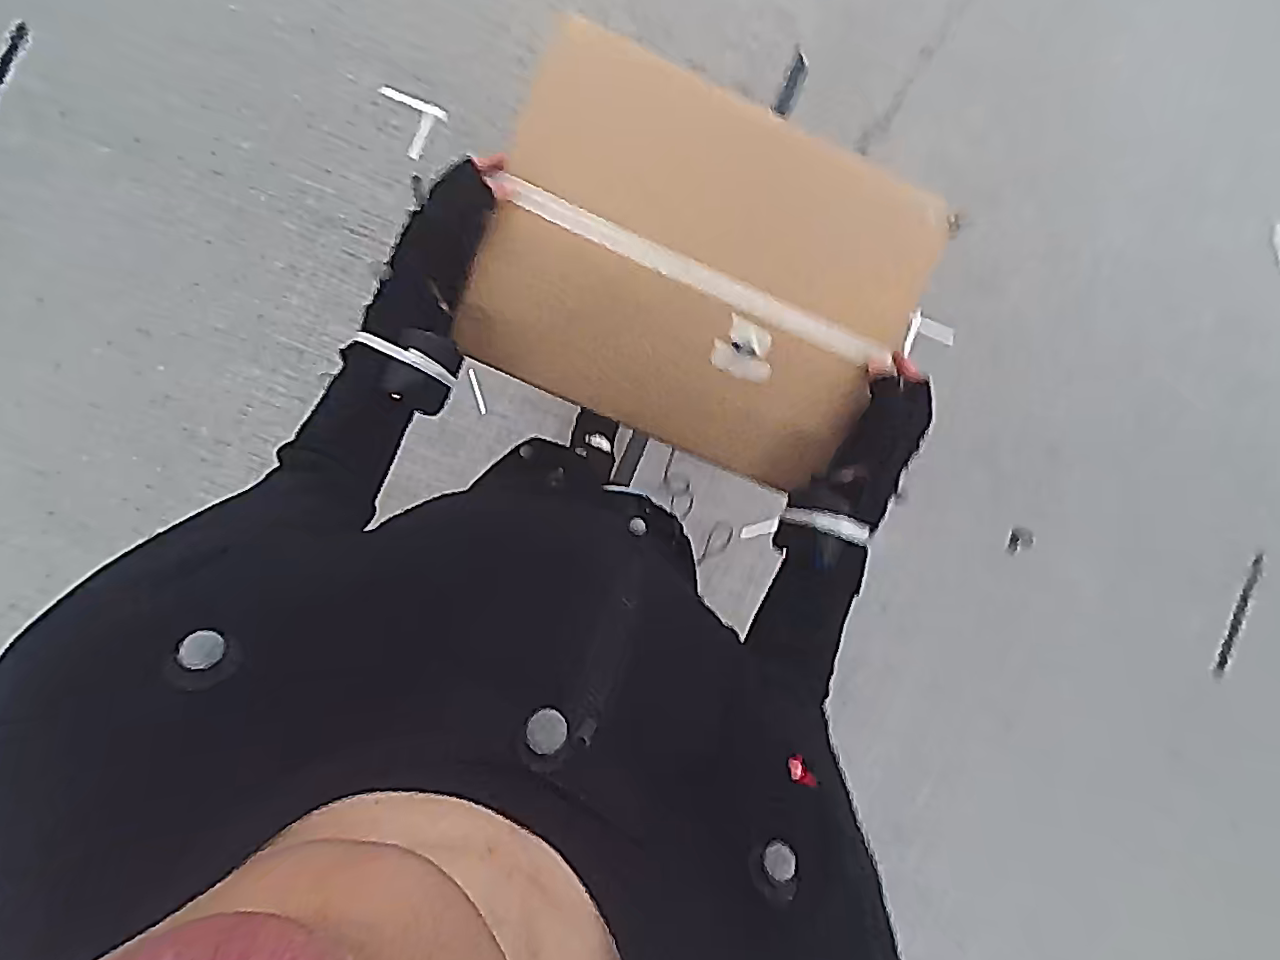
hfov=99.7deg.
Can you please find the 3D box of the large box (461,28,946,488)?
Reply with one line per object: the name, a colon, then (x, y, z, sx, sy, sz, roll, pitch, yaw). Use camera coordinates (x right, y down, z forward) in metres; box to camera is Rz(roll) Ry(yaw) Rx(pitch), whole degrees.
large box: (0.055, -0.226, 0.677, 0.408, 0.320, 0.320, 24, 98, -6)
